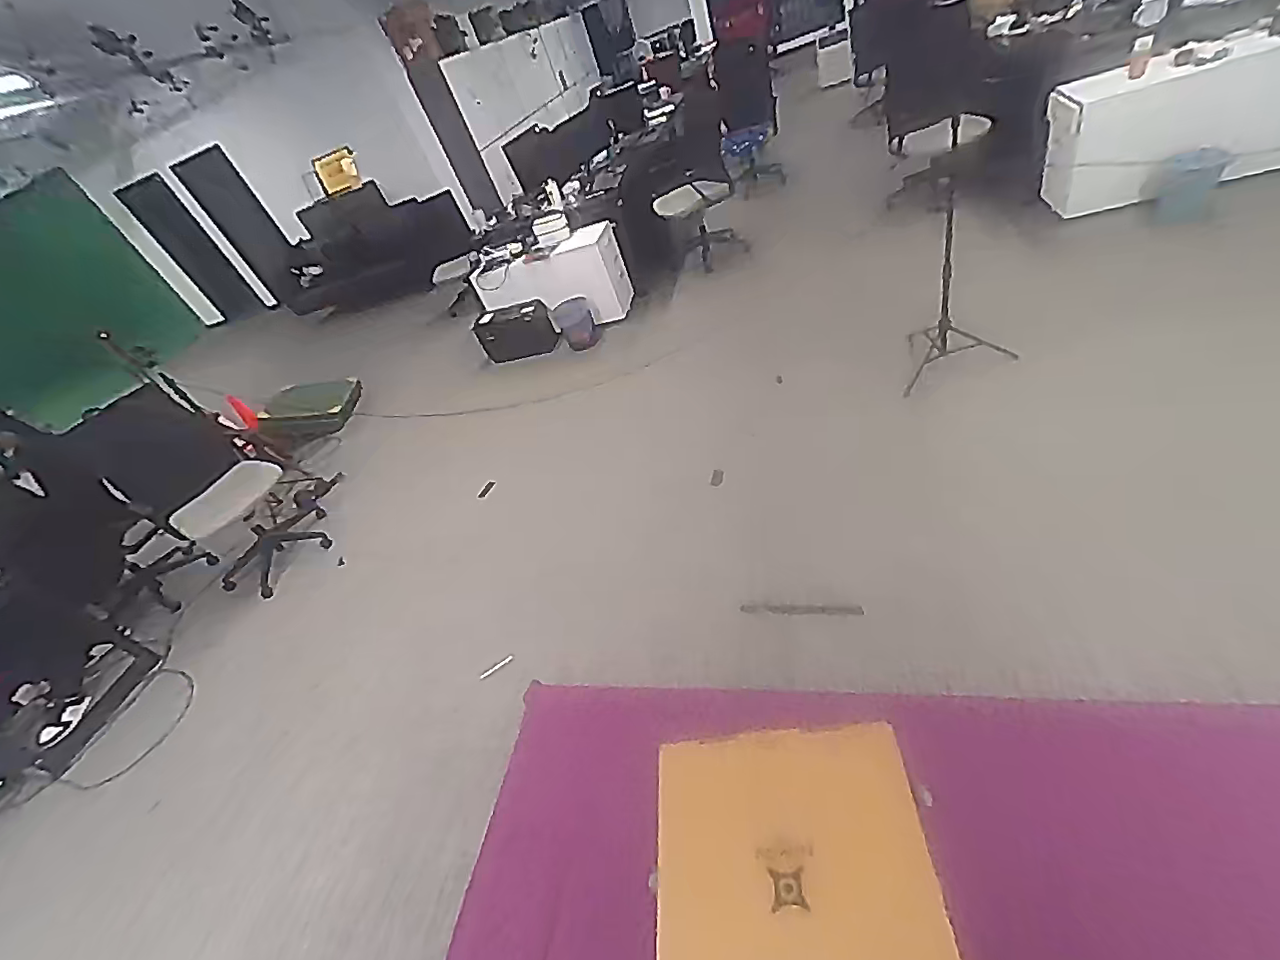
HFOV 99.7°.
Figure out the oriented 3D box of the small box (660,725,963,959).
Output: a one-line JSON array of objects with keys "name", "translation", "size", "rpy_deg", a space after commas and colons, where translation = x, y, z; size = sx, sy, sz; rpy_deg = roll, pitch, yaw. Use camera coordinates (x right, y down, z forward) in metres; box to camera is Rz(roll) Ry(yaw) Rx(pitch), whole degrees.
[{"name": "small box", "translation": [0.118, 0.297, 0.368], "size": [0.168, 0.176, 0.179], "rpy_deg": [-13, 38, 14]}]
